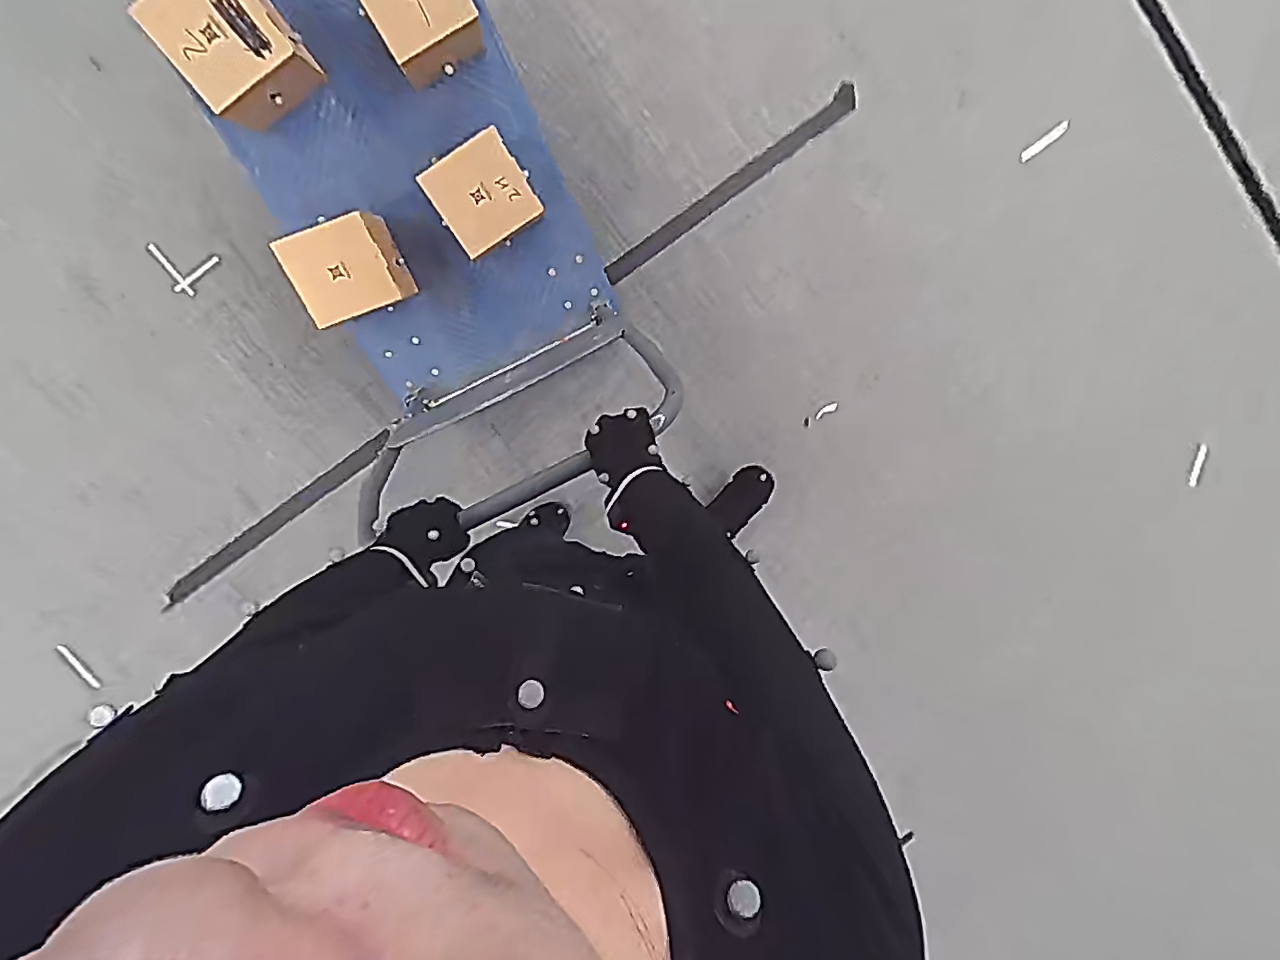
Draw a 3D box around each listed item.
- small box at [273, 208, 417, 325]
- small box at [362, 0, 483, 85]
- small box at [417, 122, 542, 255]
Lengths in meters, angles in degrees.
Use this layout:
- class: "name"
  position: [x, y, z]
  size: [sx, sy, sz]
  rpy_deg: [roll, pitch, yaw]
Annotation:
- class: "small box"
  position: [-0.583, -0.428, 1.097]
  size: [0.179, 0.176, 0.168]
  rpy_deg: [-23, 114, -3]
- class: "small box"
  position: [-0.398, -0.852, 0.958]
  size: [0.168, 0.176, 0.179]
  rpy_deg: [-30, 115, 2]
- class: "small box"
  position: [-0.311, -0.573, 1.089]
  size: [0.179, 0.176, 0.168]
  rpy_deg: [-32, 115, 3]
